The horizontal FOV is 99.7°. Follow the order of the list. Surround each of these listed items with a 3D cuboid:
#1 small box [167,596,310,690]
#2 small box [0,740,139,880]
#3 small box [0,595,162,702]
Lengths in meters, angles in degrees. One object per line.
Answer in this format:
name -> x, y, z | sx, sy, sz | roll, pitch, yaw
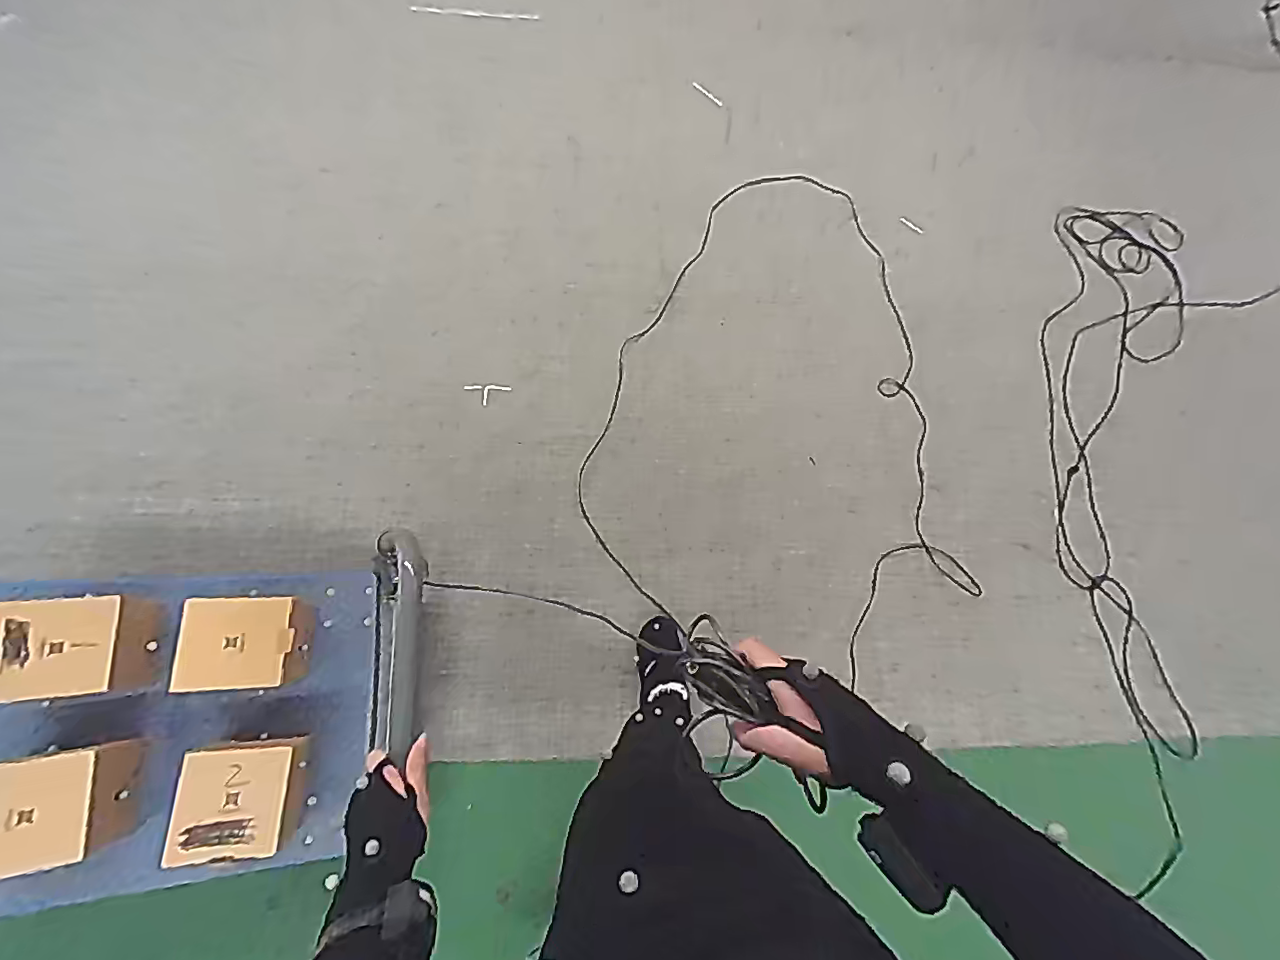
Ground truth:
small box -> -0.780, 0.324, 1.072 | 0.179, 0.176, 0.168 | 3, 72, -20
small box -> -0.999, 0.552, 0.915 | 0.179, 0.176, 0.168 | -2, 73, -21
small box -> -1.027, 0.306, 0.985 | 0.179, 0.176, 0.168 | 0, 74, -21
